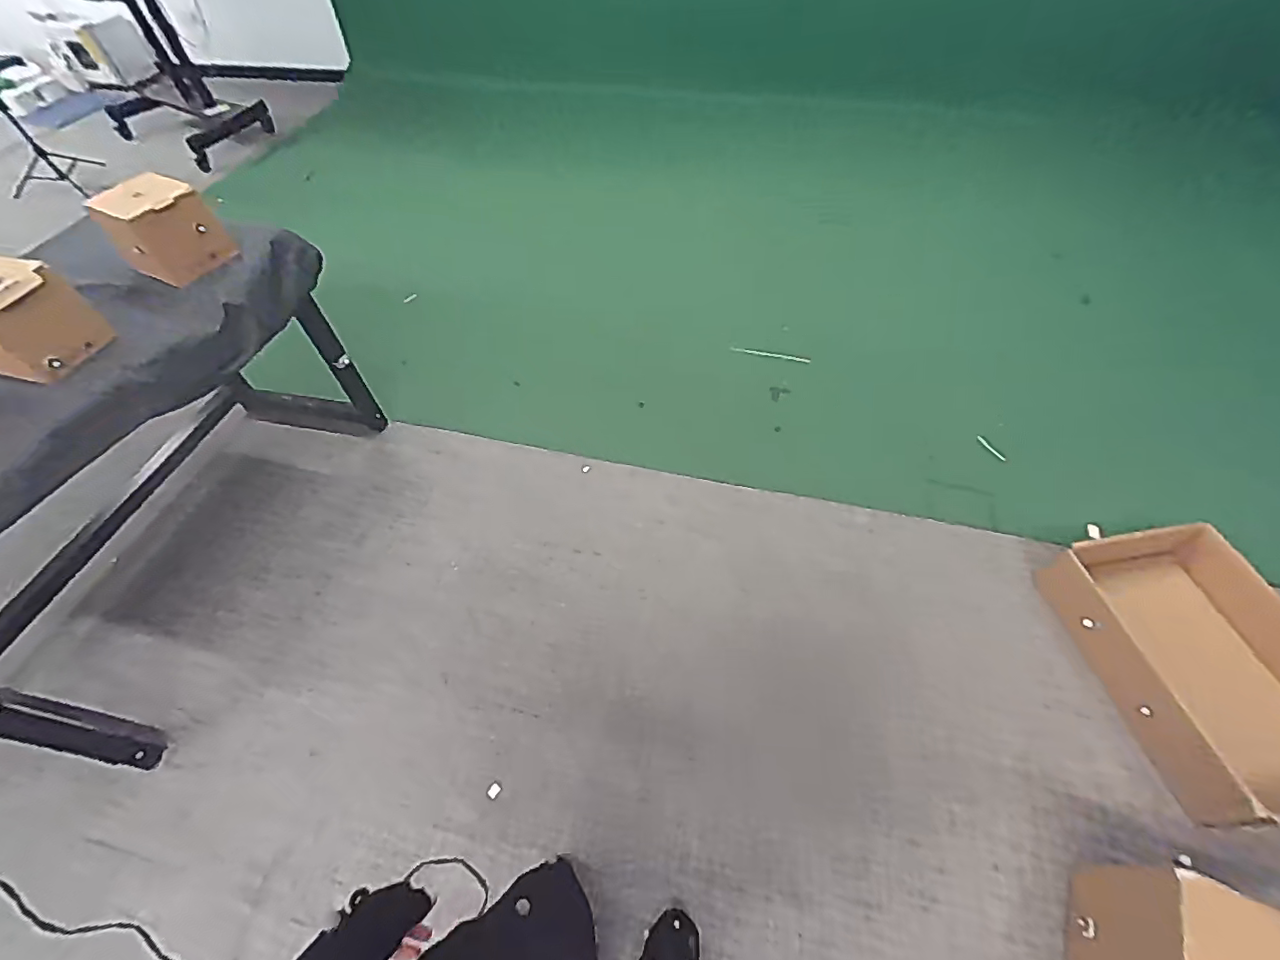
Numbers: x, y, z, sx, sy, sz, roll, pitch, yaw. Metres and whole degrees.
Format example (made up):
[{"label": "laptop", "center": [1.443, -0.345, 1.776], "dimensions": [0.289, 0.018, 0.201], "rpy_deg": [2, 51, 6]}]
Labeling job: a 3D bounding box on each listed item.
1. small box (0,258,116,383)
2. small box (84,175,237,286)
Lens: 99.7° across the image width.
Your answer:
[{"label": "small box", "center": [-1.226, -0.314, 1.075], "dimensions": [0.179, 0.176, 0.168], "rpy_deg": [11, 55, 12]}, {"label": "small box", "center": [-1.106, -0.579, 1.265], "dimensions": [0.179, 0.176, 0.168], "rpy_deg": [21, 57, 19]}]
